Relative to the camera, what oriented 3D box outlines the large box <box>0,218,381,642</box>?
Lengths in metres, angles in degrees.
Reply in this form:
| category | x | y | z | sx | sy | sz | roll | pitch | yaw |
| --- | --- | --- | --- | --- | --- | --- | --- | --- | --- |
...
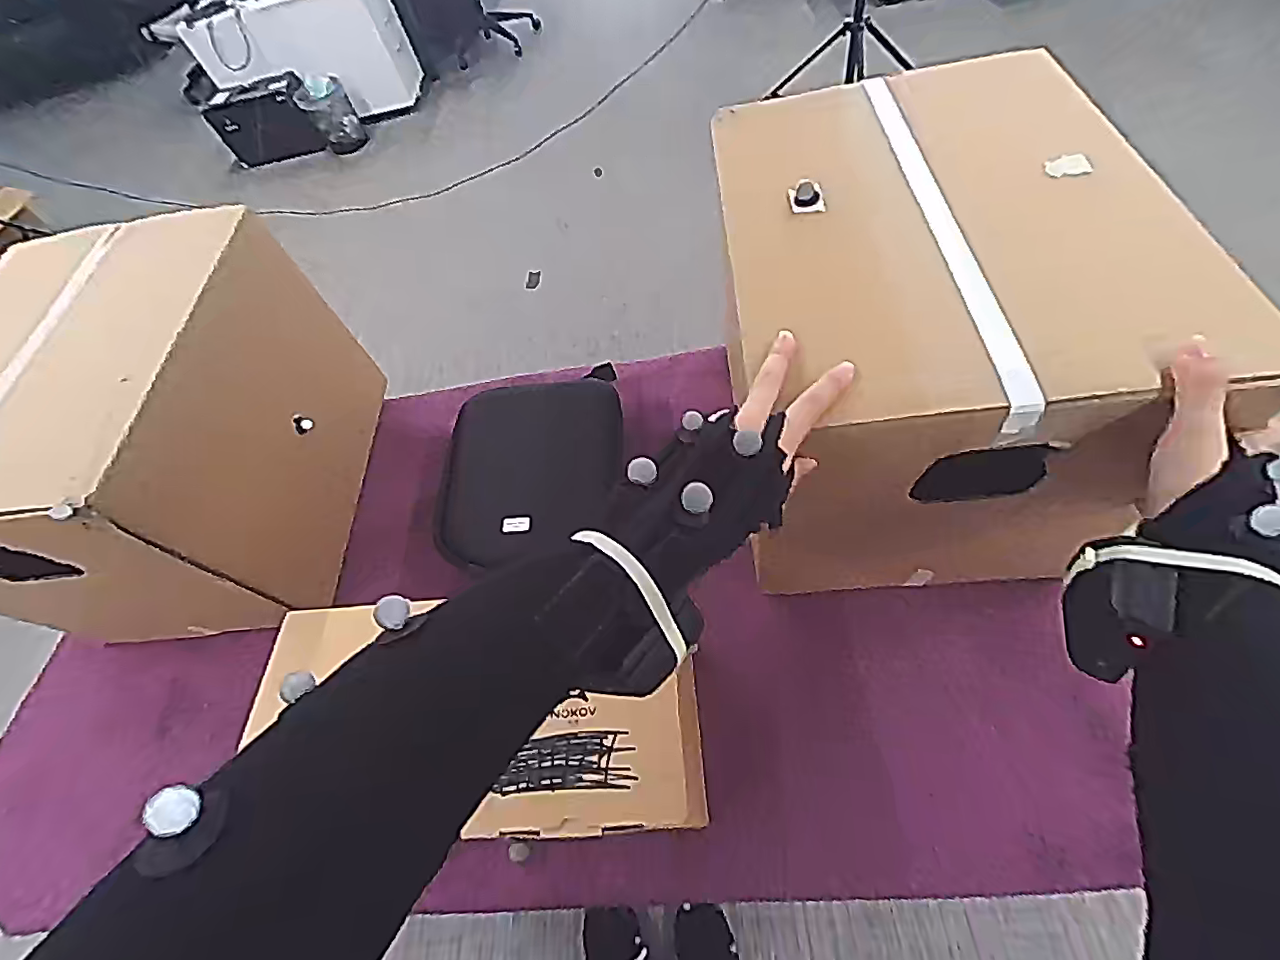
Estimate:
| category | x | y | z | sx | sy | sz | roll | pitch | yaw |
| --- | --- | --- | --- | --- | --- | --- | --- | --- | --- |
| large box | -0.570 | -0.047 | 0.672 | 0.320 | 0.320 | 0.408 | -8 | 60 | 5 |
